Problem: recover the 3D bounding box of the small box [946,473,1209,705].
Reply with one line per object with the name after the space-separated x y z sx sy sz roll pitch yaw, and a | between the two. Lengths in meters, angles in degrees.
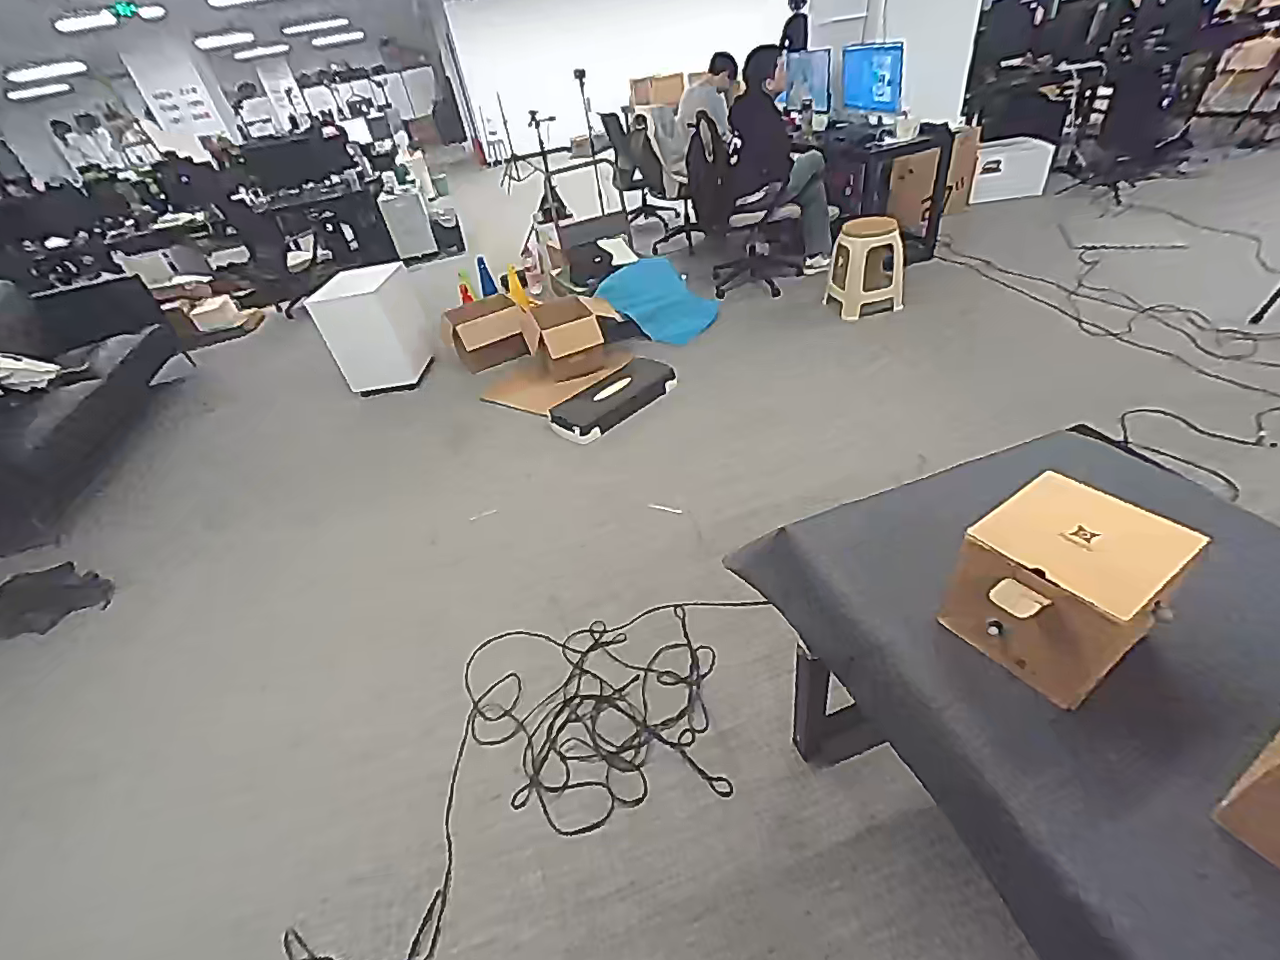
0.504 0.127 0.651 0.179 0.176 0.168 -28 41 -20 | small box
